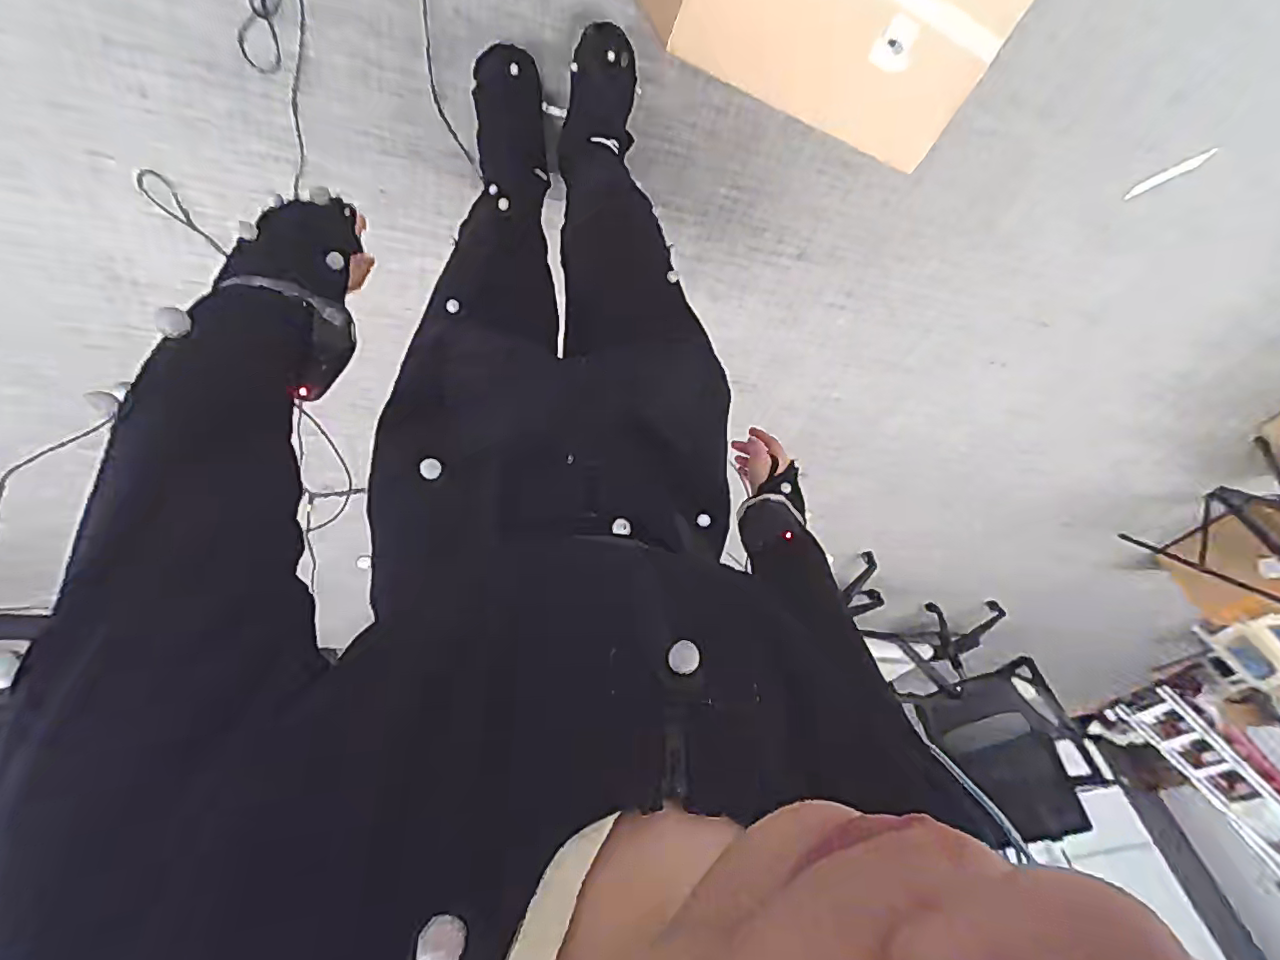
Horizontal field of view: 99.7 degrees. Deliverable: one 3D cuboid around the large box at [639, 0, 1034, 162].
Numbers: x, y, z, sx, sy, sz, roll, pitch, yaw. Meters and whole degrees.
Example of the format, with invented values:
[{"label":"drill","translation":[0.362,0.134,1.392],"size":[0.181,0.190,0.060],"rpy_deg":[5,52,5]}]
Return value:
[{"label":"large box","translation":[0.251,-0.691,0.699],"size":[0.408,0.320,0.320],"rpy_deg":[9,136,-22]}]
